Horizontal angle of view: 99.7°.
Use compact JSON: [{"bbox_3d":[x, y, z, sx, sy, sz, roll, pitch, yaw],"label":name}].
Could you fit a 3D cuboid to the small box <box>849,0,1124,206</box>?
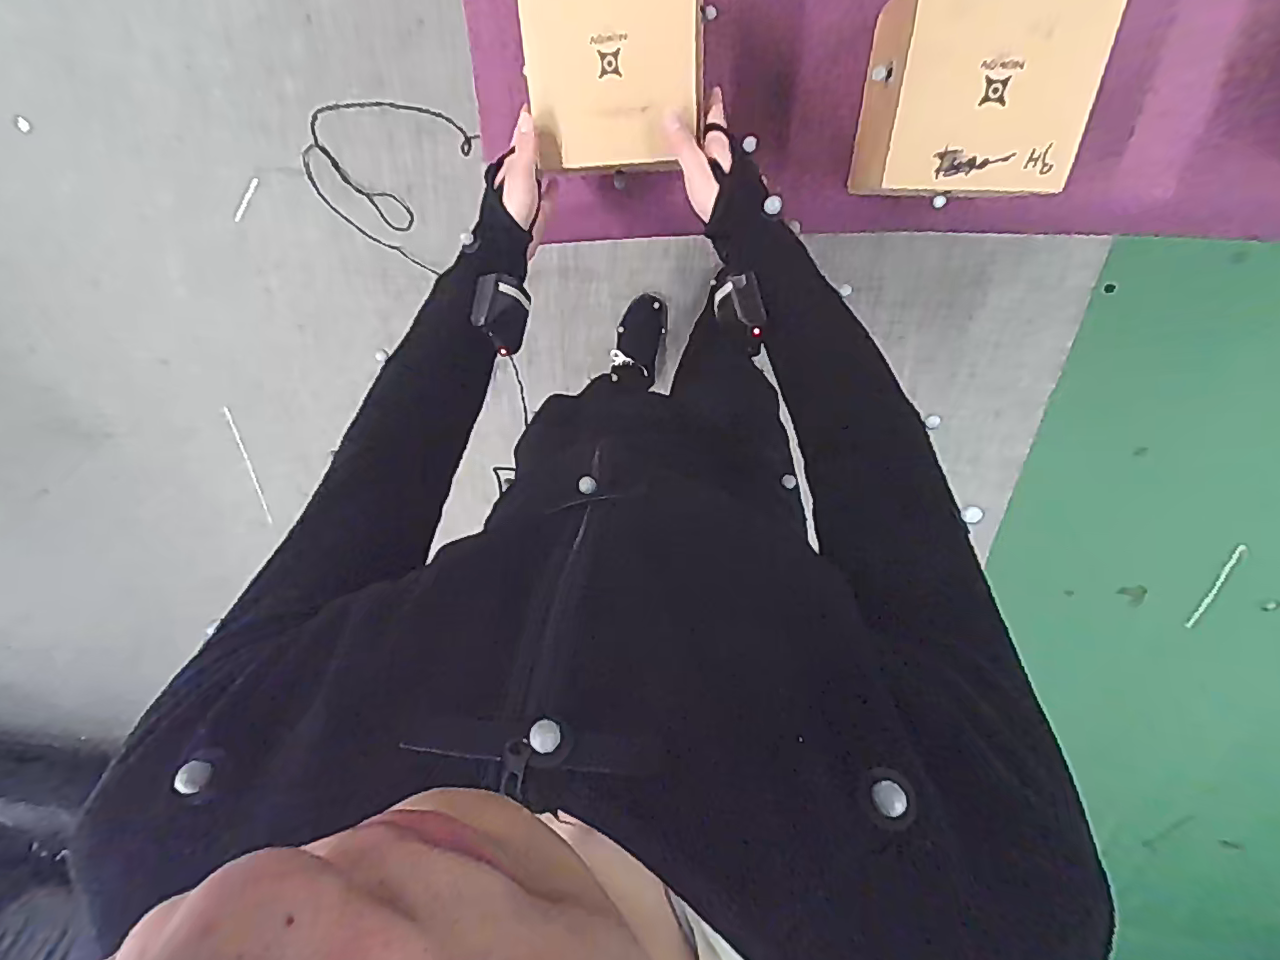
[{"bbox_3d":[0.325,-0.383,0.551,0.168,0.176,0.179,5,117,6],"label":"small box"}]
